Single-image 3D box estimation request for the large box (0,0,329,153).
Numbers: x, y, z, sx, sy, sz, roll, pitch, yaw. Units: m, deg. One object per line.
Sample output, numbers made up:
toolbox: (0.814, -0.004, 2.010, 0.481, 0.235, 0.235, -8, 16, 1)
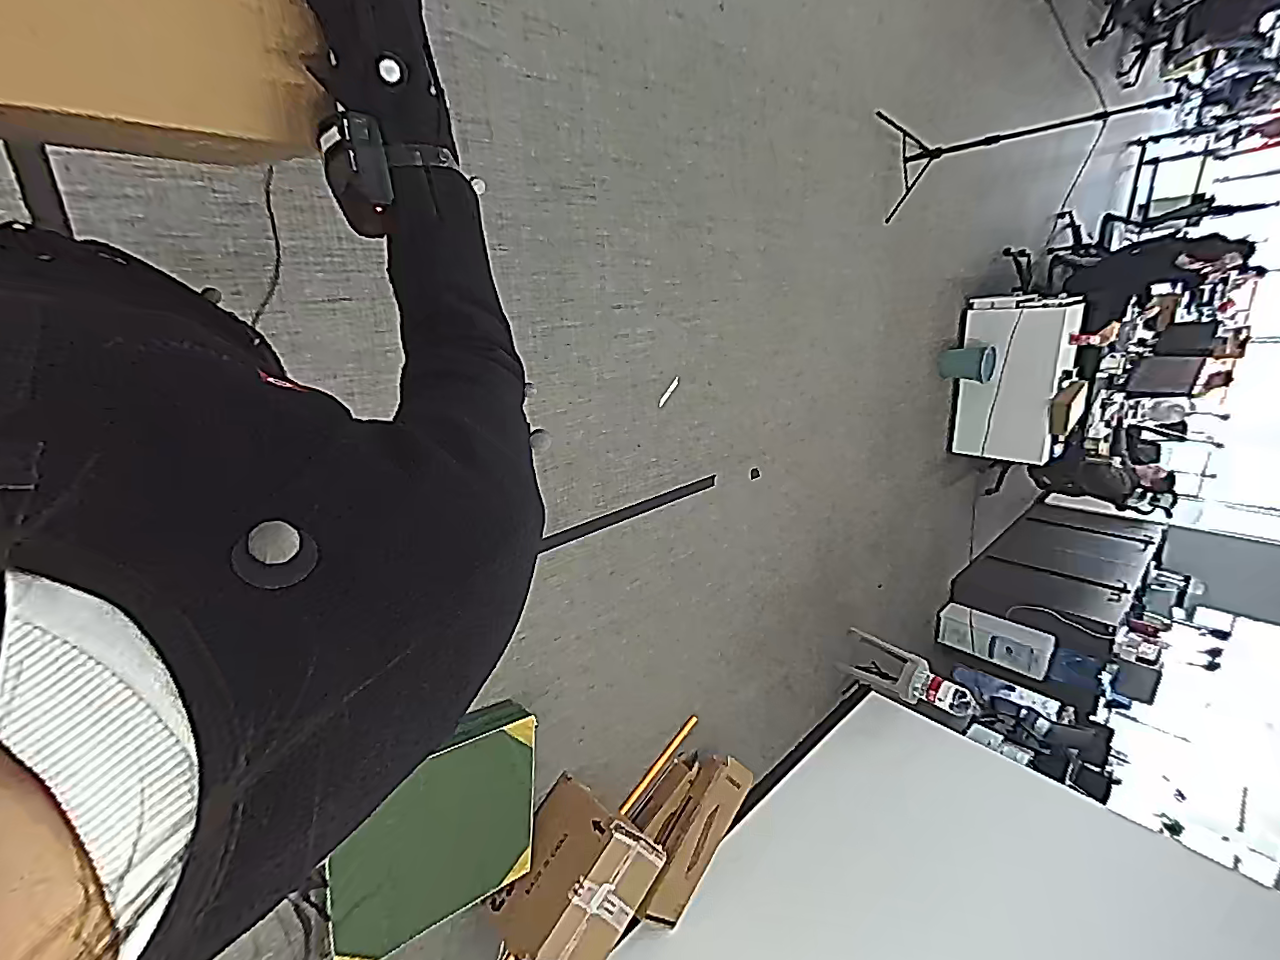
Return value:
large box: (-0.470, -0.397, 0.311, 0.408, 0.320, 0.320, -19, 124, -41)
